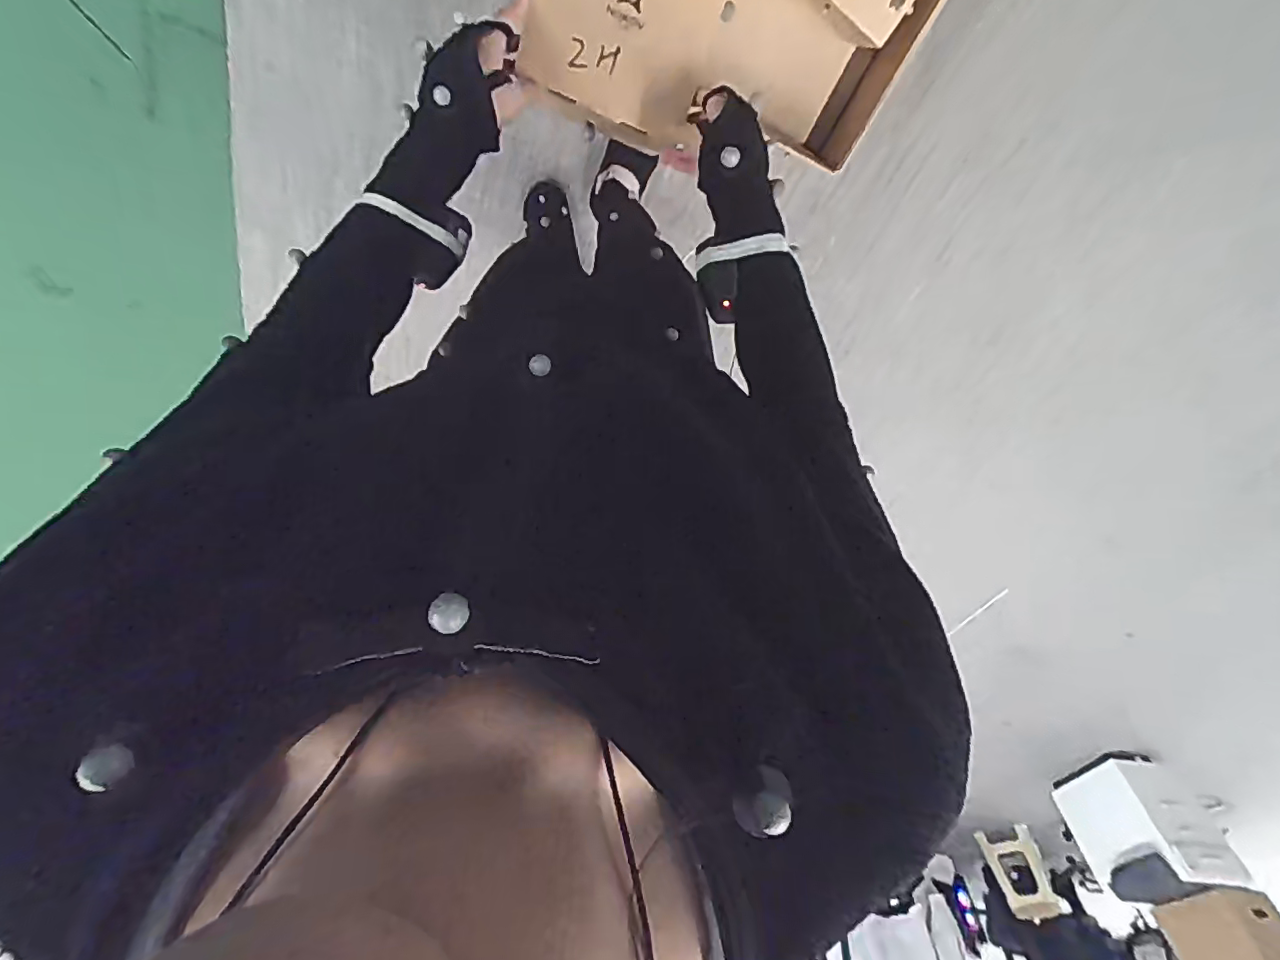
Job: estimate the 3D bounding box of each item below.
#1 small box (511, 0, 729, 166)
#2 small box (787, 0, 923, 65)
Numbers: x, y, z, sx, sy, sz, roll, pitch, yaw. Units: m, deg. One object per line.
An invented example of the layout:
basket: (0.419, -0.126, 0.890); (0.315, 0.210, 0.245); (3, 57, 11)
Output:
small box: (-0.024, -0.452, 0.558); (0.168, 0.176, 0.179); (17, 114, -16)
small box: (0.370, -0.837, 0.904); (0.179, 0.176, 0.168); (28, 126, -19)
